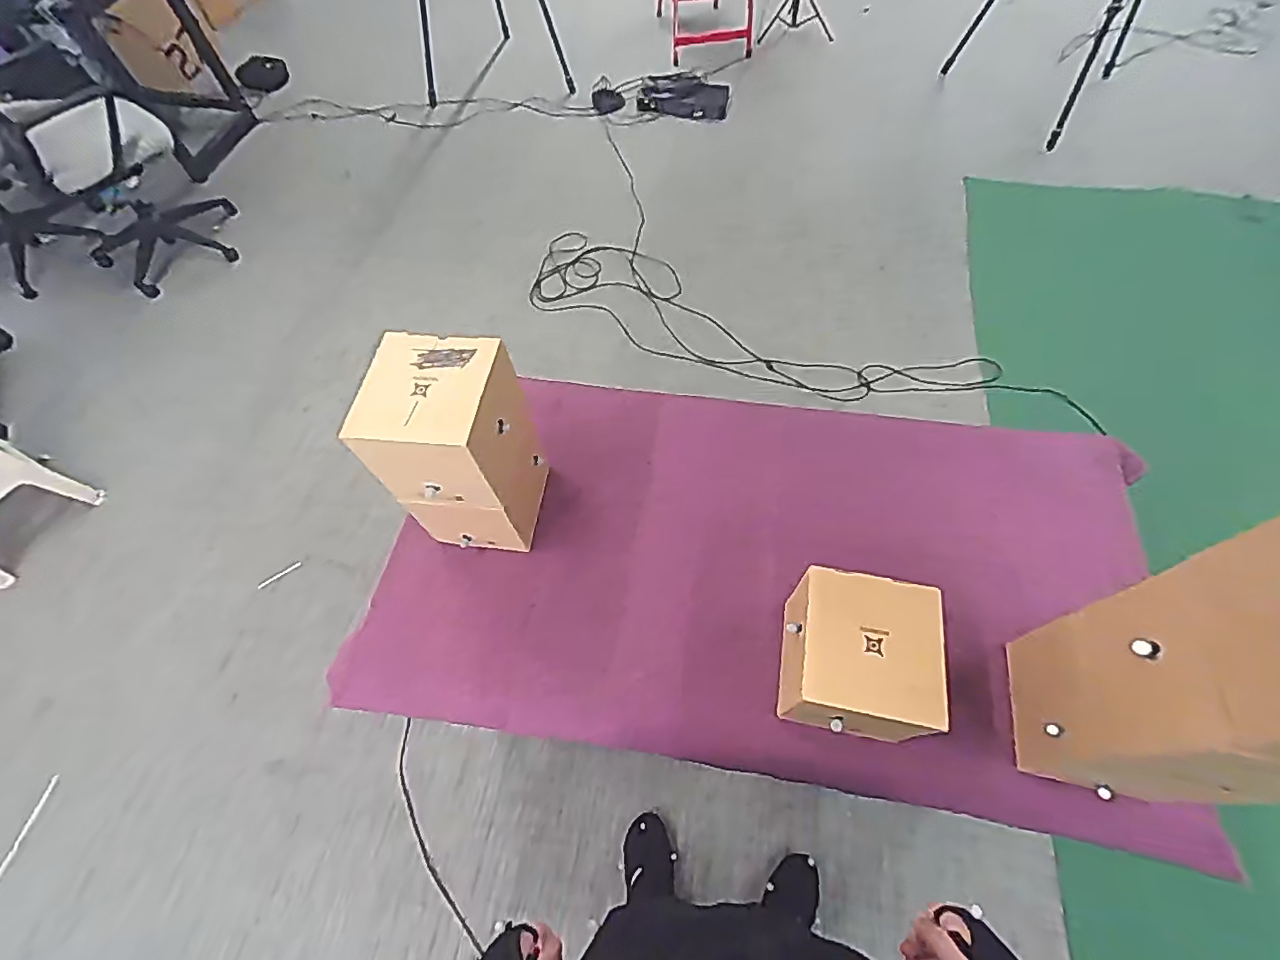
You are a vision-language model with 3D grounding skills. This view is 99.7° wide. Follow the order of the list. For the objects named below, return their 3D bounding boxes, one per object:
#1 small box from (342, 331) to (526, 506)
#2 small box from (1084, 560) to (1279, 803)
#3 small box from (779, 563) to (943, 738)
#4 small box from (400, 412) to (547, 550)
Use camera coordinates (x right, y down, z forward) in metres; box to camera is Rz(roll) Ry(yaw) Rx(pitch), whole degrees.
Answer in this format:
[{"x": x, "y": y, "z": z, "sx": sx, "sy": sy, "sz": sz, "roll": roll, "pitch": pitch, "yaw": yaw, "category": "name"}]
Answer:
[{"x": -0.269, "y": -0.083, "z": 0.758, "sx": 0.168, "sy": 0.176, "sz": 0.179, "roll": 5, "pitch": 62, "yaw": 7, "category": "small box"}, {"x": 0.592, "y": 0.206, "z": 0.542, "sx": 0.168, "sy": 0.176, "sz": 0.179, "roll": 10, "pitch": 60, "yaw": 11, "category": "small box"}, {"x": 0.290, "y": 0.237, "z": 0.735, "sx": 0.168, "sy": 0.176, "sz": 0.179, "roll": 9, "pitch": 60, "yaw": 9, "category": "small box"}, {"x": -0.261, "y": -0.002, "z": 0.901, "sx": 0.168, "sy": 0.176, "sz": 0.179, "roll": 5, "pitch": 62, "yaw": 7, "category": "small box"}]
